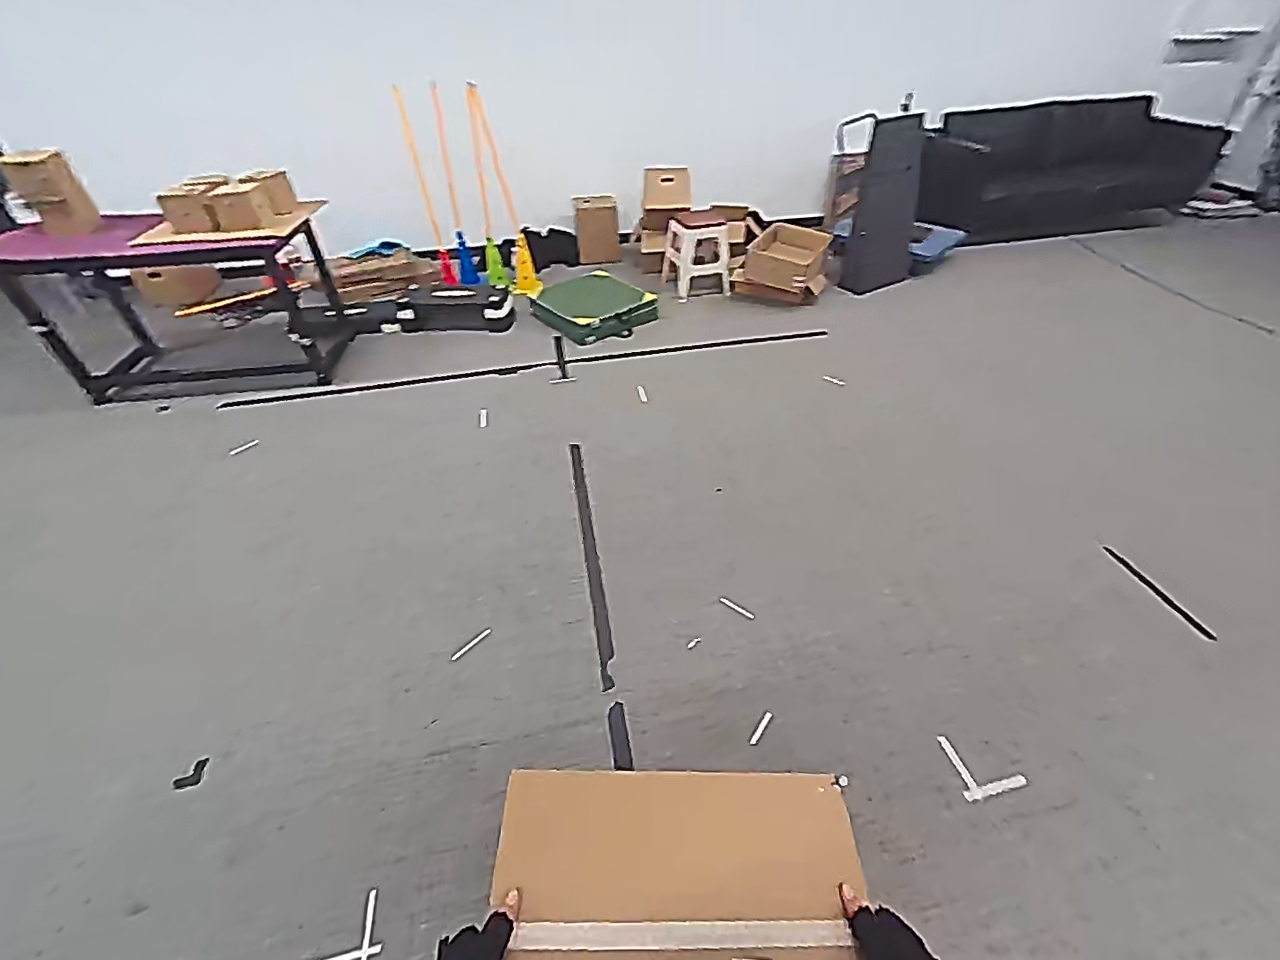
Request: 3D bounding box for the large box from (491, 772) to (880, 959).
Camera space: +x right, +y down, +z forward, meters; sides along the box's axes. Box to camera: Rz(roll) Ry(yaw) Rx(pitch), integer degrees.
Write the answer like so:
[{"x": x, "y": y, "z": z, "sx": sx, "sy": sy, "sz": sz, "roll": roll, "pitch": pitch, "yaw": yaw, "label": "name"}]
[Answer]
[{"x": 0.036, "y": 0.580, "z": 0.655, "sx": 0.408, "sy": 0.320, "sz": 0.320, "roll": 3, "pitch": 41, "yaw": -4, "label": "large box"}]
